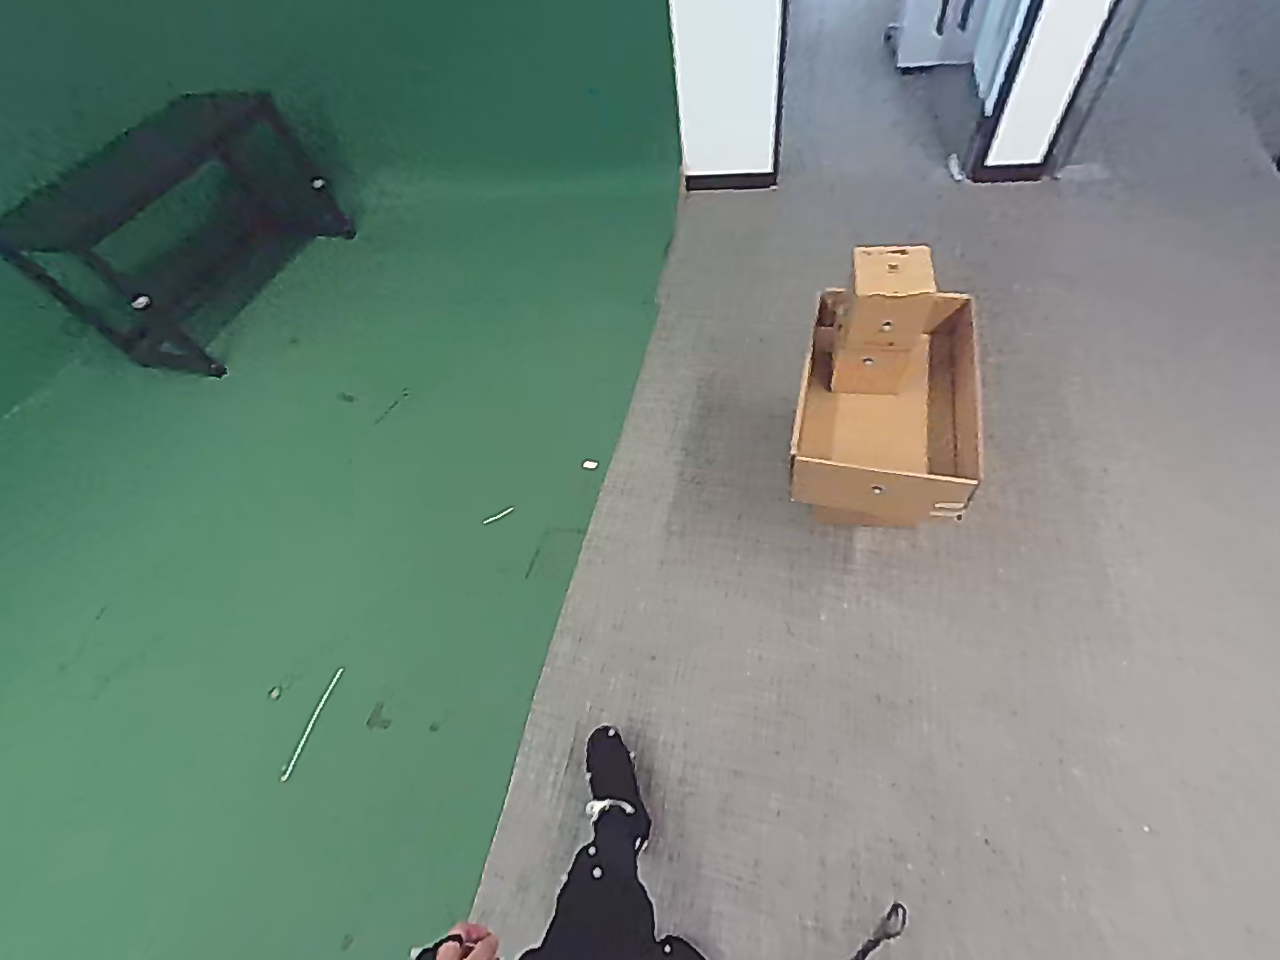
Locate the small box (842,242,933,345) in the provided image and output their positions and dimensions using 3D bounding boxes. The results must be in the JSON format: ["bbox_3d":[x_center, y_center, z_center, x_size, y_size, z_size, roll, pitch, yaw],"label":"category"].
[{"bbox_3d":[0.585,-0.440,1.295,0.168,0.176,0.179,4,59,13],"label":"small box"}]
